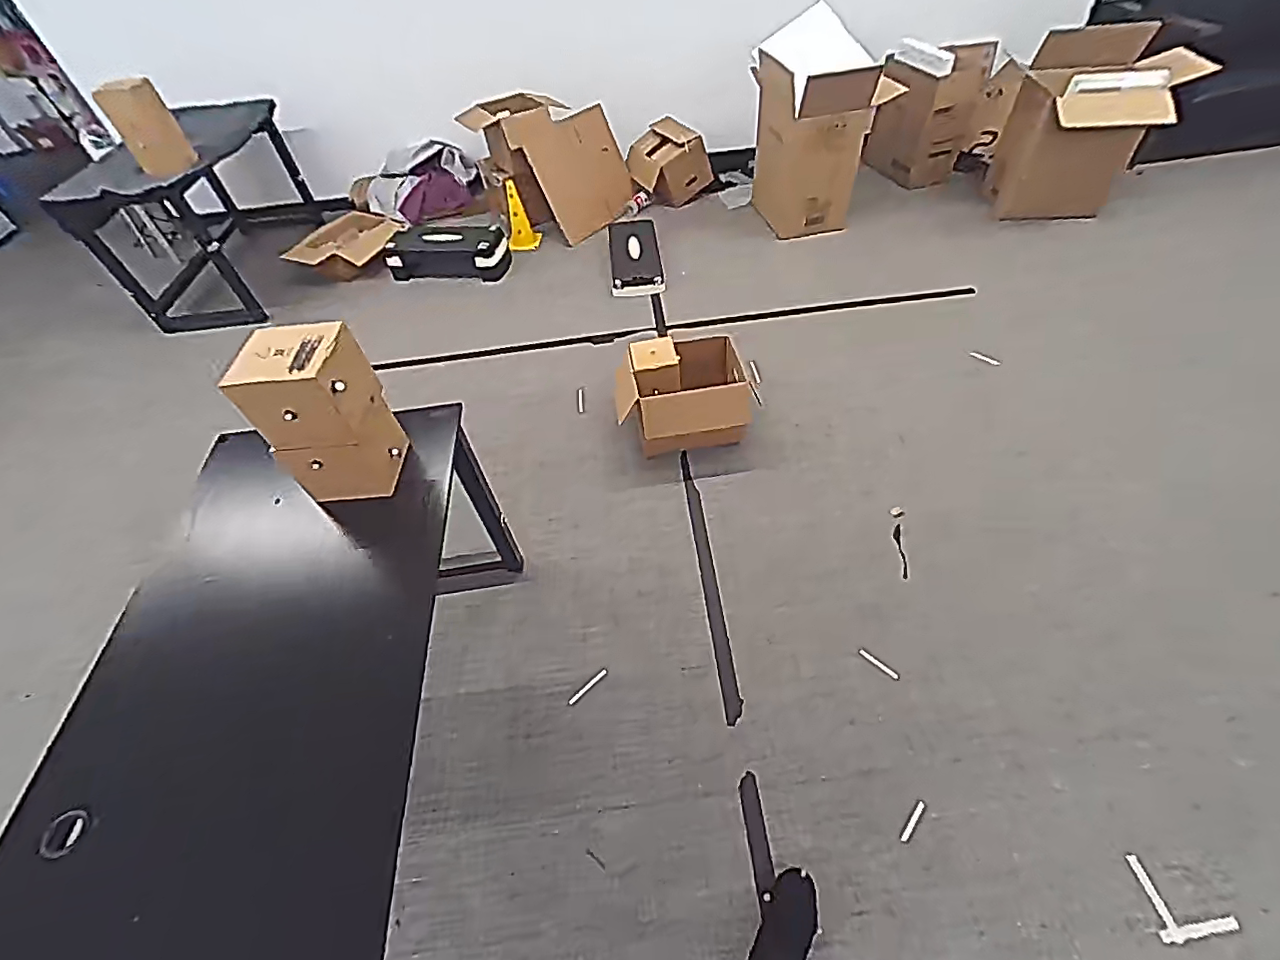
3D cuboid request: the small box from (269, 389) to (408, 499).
[{"bbox_3d":[-0.630,-0.072,1.156,0.179,0.176,0.168,-4,51,3],"label":"small box"}]
